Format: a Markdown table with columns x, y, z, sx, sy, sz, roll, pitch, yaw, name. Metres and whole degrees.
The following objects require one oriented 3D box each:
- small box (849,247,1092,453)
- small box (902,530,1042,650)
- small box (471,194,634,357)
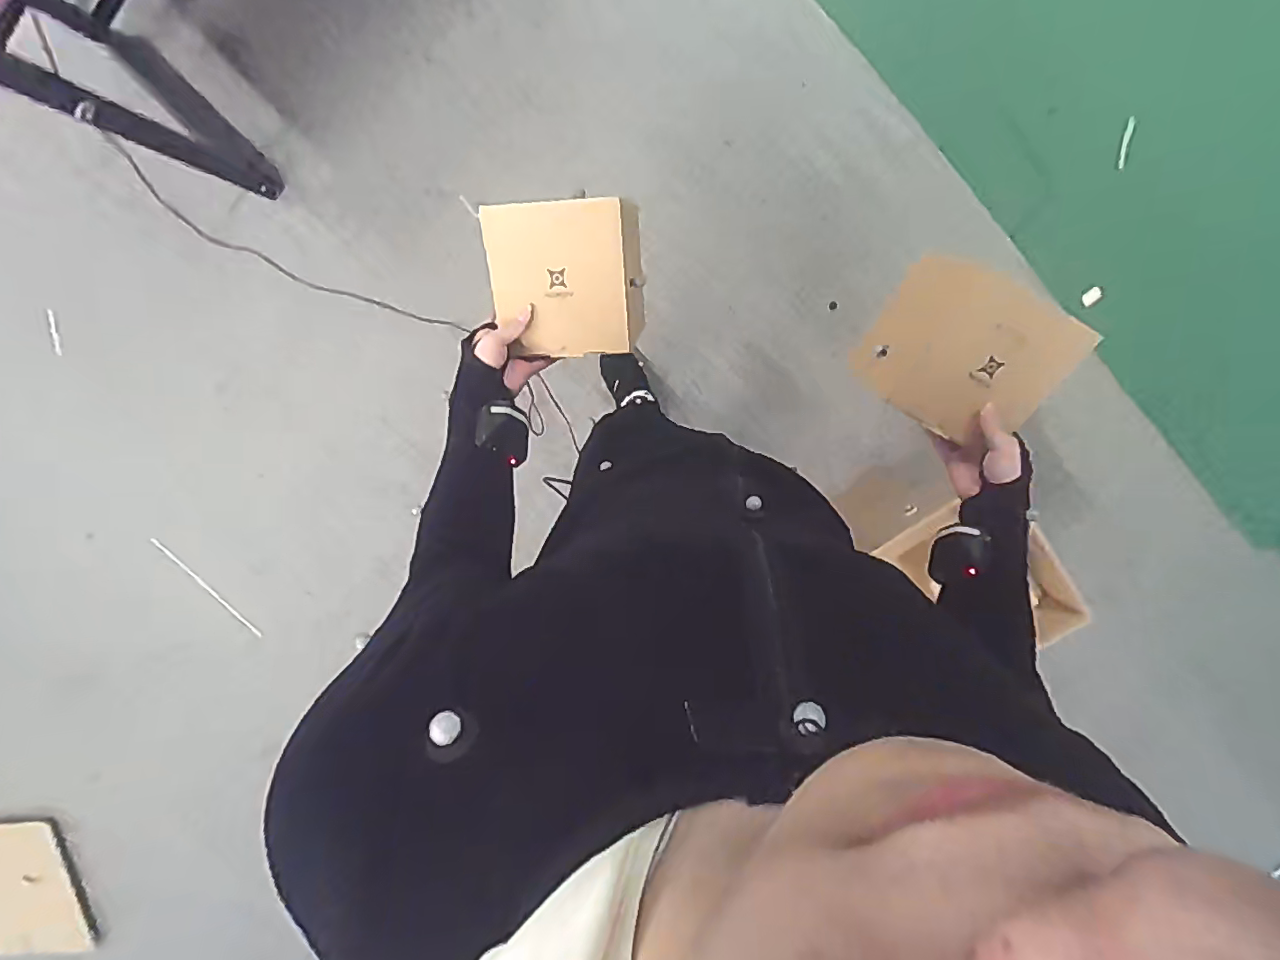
| x | y | z | sx | sy | sz | roll | pitch | yaw | name |
| --- | --- | --- | --- | --- | --- | --- | --- | --- | --- |
| 0.392 | -0.170 | 0.685 | 0.168 | 0.176 | 0.179 | 26 | 116 | -10 | small box |
| 0.727 | 0.234 | 1.202 | 0.179 | 0.176 | 0.168 | -32 | 97 | 9 | small box |
| -0.100 | -0.269 | 0.712 | 0.168 | 0.176 | 0.179 | -1 | 116 | 7 | small box |
